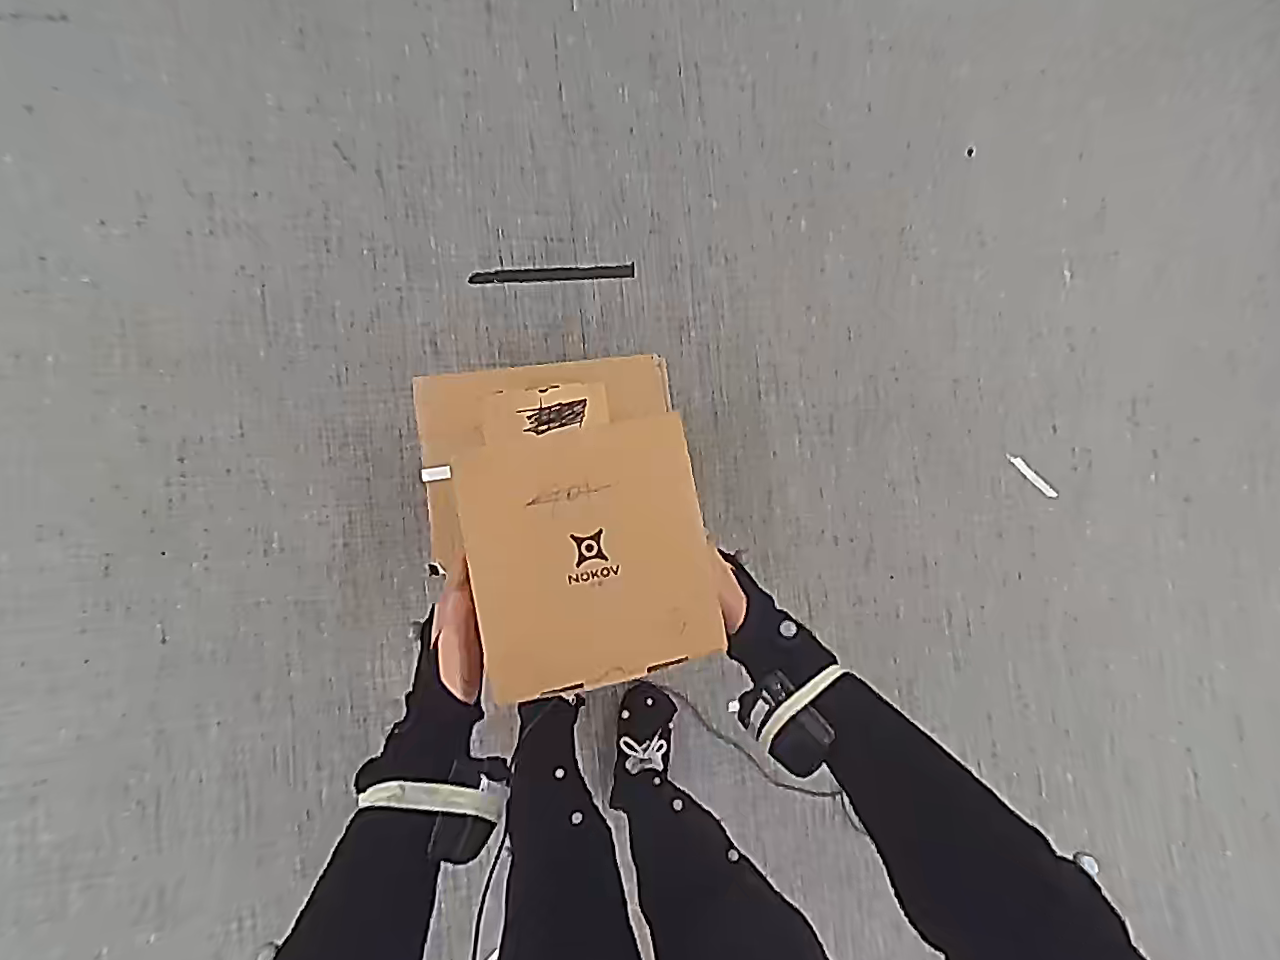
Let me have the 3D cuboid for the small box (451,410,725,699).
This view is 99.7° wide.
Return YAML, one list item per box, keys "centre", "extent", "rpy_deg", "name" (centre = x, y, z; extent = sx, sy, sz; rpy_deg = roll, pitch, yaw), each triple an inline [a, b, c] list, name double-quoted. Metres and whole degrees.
- centre: [-0.044, 0.053, 0.454]
  extent: [0.168, 0.176, 0.179]
  rpy_deg: [-11, 87, -9]
  name: "small box"

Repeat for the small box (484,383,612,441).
- centre: [-0.124, -0.030, 0.780]
  extent: [0.168, 0.176, 0.179]
  rpy_deg: [-8, 88, -9]
  name: "small box"
